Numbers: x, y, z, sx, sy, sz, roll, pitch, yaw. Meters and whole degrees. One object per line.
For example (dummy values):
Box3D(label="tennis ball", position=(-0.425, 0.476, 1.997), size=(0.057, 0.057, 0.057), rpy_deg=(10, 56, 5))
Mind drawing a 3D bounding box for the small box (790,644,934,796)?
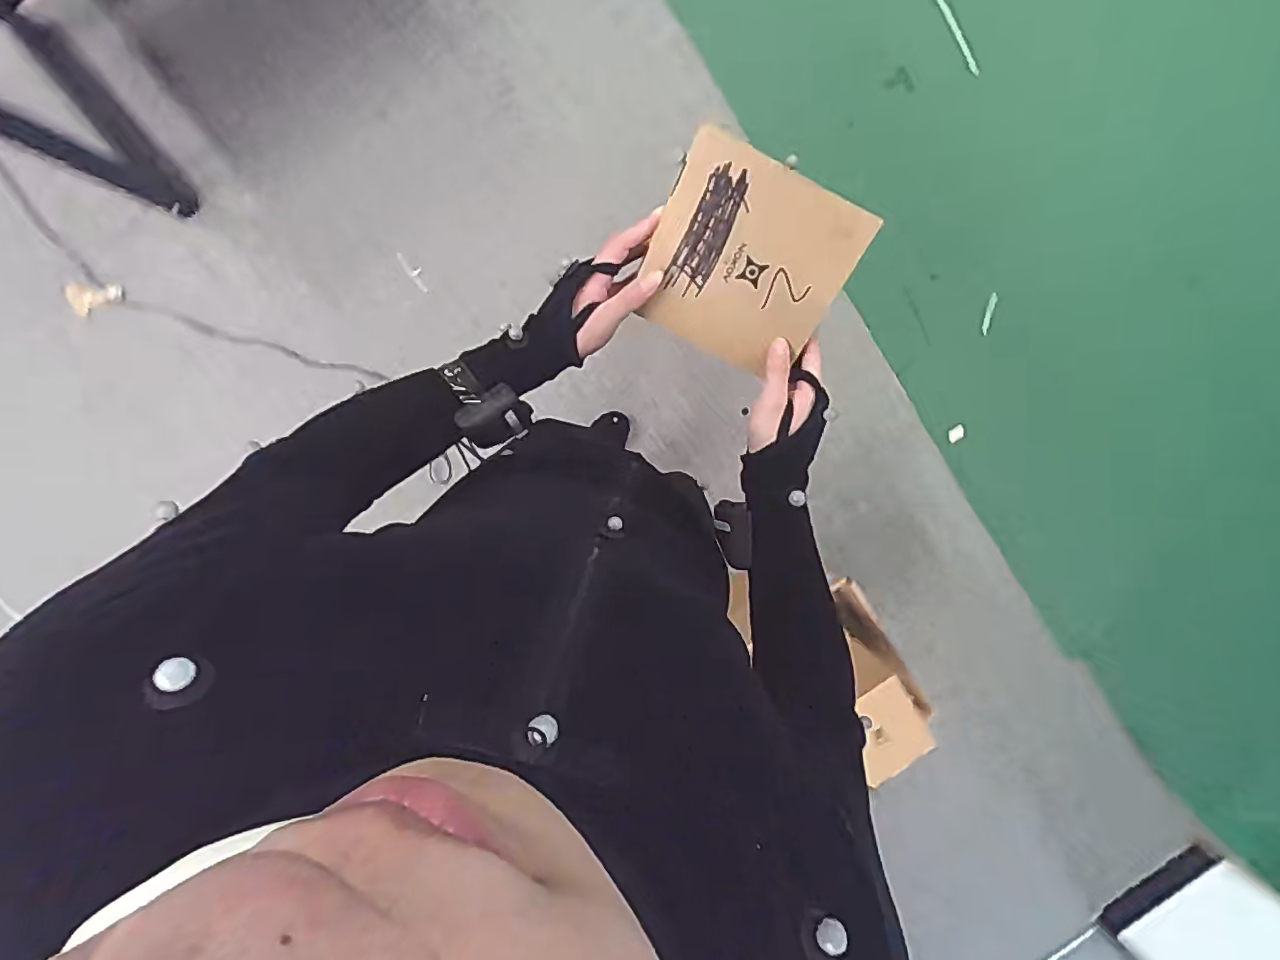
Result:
Box3D(label="small box", position=(0.426, 0.461, 1.063), size=(0.168, 0.176, 0.179), rpy_deg=(-32, 99, -1))
